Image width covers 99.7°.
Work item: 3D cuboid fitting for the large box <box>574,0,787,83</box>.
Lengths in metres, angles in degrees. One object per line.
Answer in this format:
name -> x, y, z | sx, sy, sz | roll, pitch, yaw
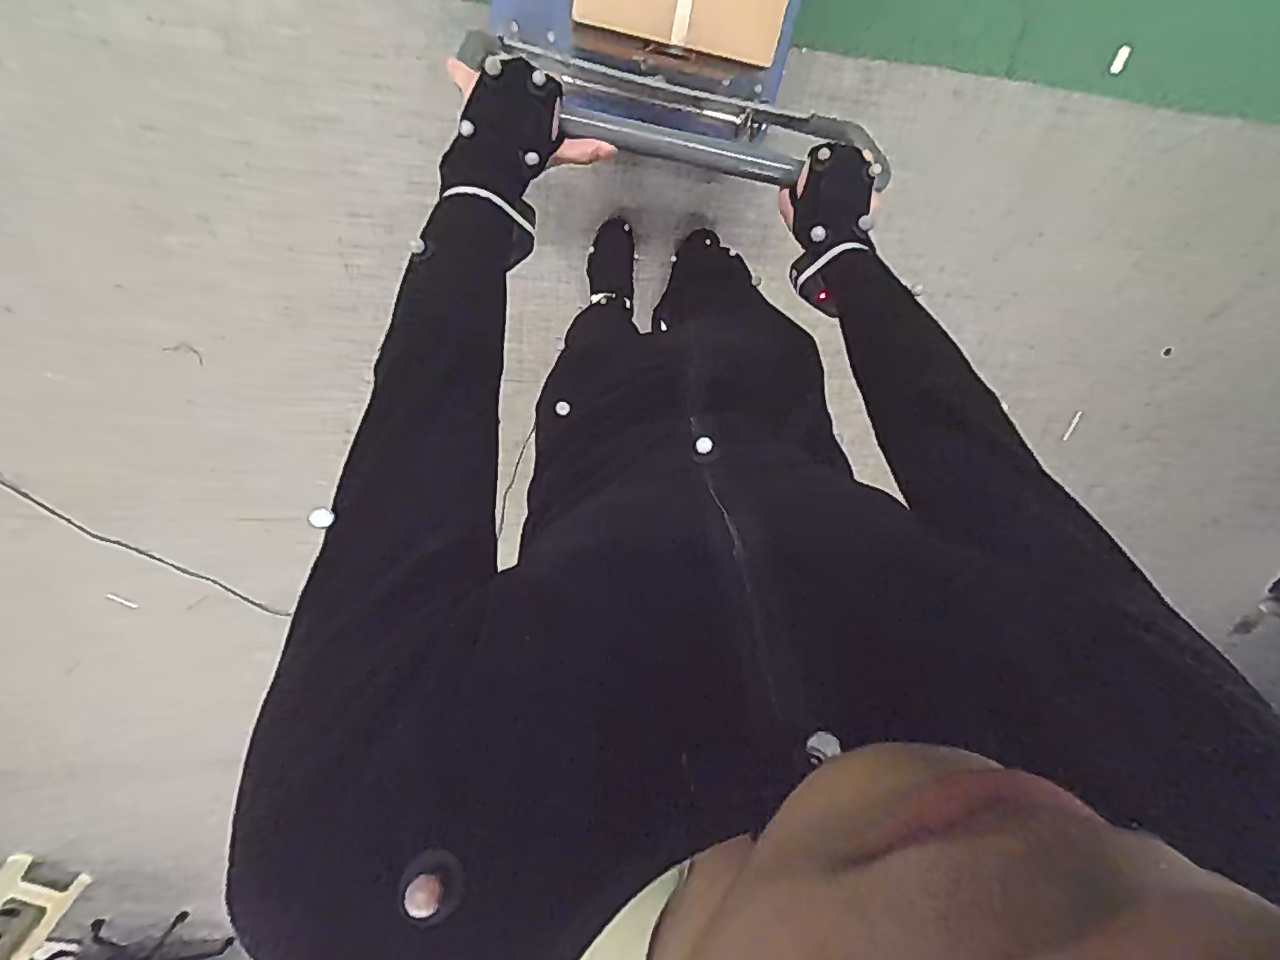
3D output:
large box -> 0.071, -0.899, 0.841 | 0.320, 0.320, 0.408 | 5, 122, -11
